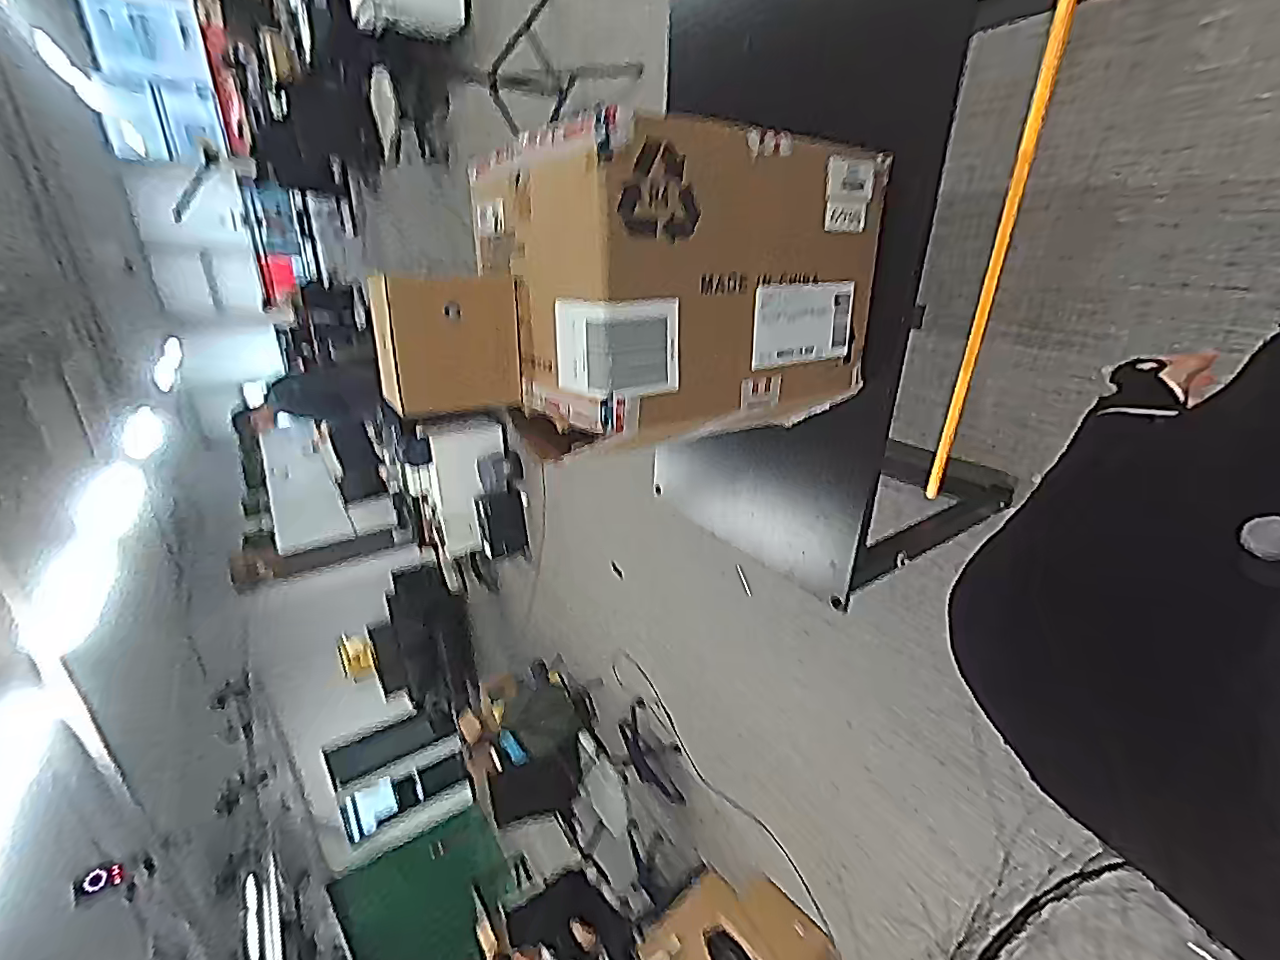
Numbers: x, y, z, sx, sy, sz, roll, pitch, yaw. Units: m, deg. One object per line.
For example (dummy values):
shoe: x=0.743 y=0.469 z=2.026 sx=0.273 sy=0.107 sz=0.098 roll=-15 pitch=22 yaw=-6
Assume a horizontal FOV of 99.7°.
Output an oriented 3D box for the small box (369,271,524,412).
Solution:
small box: x=-0.279 y=-0.209 z=0.789 sx=0.168 sy=0.176 sz=0.179 roll=30 pitch=126 yaw=53
